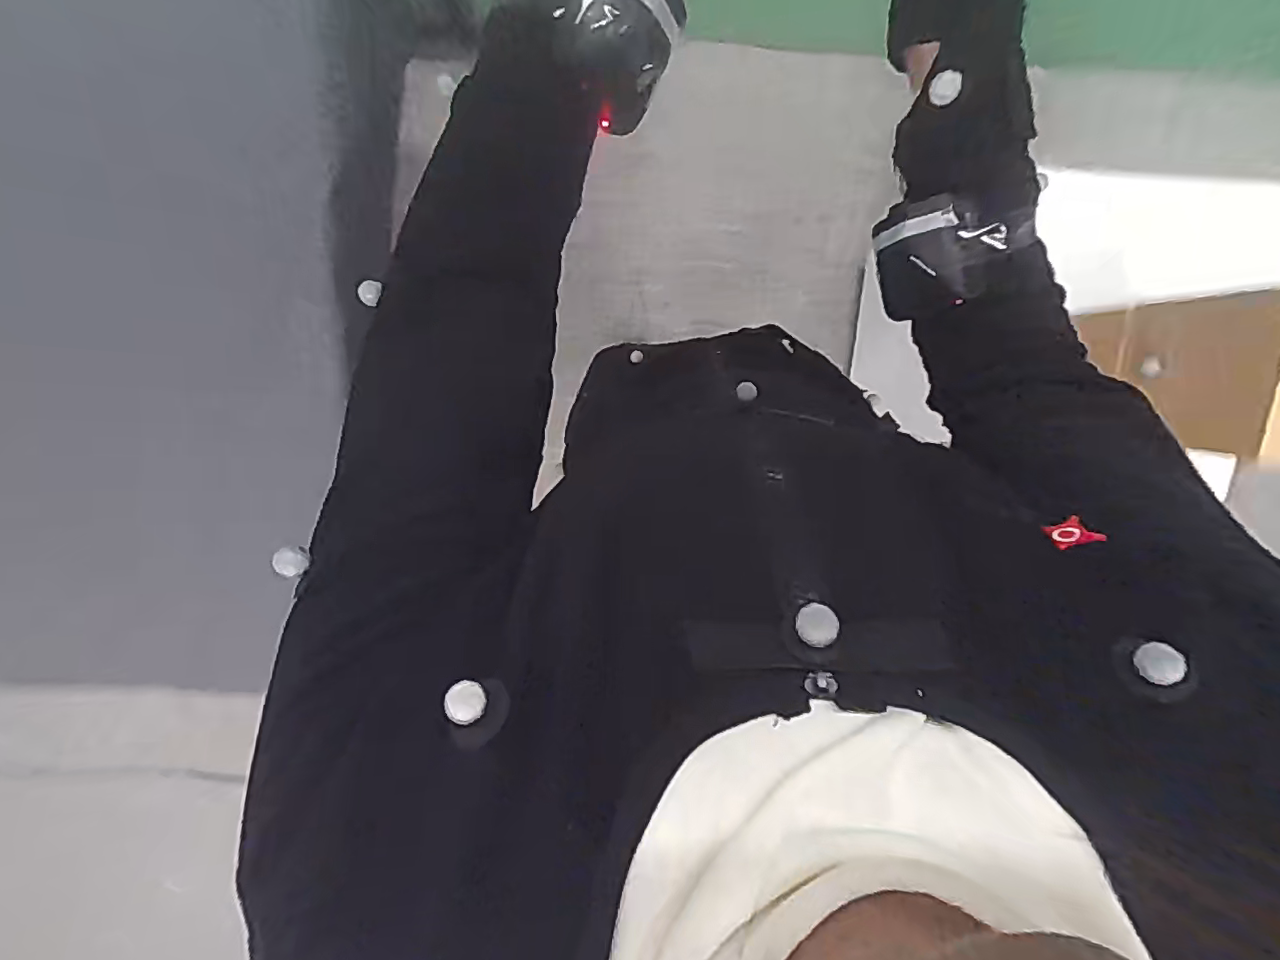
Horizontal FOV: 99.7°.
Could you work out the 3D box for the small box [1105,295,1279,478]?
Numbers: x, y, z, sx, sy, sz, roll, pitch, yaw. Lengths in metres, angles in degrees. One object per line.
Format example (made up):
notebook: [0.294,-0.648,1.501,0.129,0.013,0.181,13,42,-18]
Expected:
small box: [0.643,-0.098,0.552,0.179,0.176,0.168,1,102,-2]

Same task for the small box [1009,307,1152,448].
small box: [0.639,-0.131,0.713,0.179,0.176,0.168,3,101,1]
